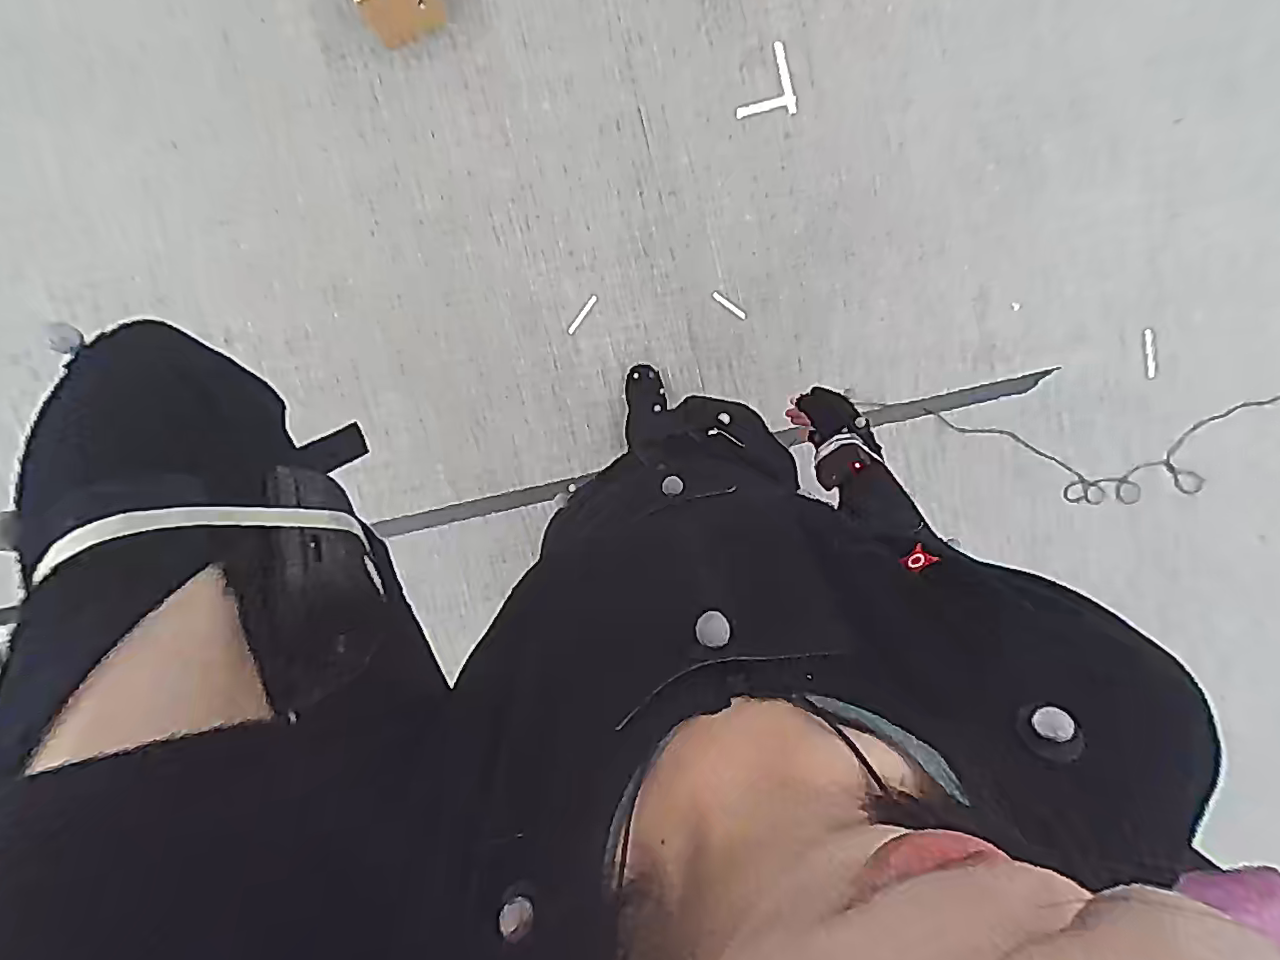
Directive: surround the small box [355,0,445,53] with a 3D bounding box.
[{"bbox_3d":[-0.574,-1.150,1.247,0.179,0.176,0.168,-25,97,2],"label":"small box"}]
